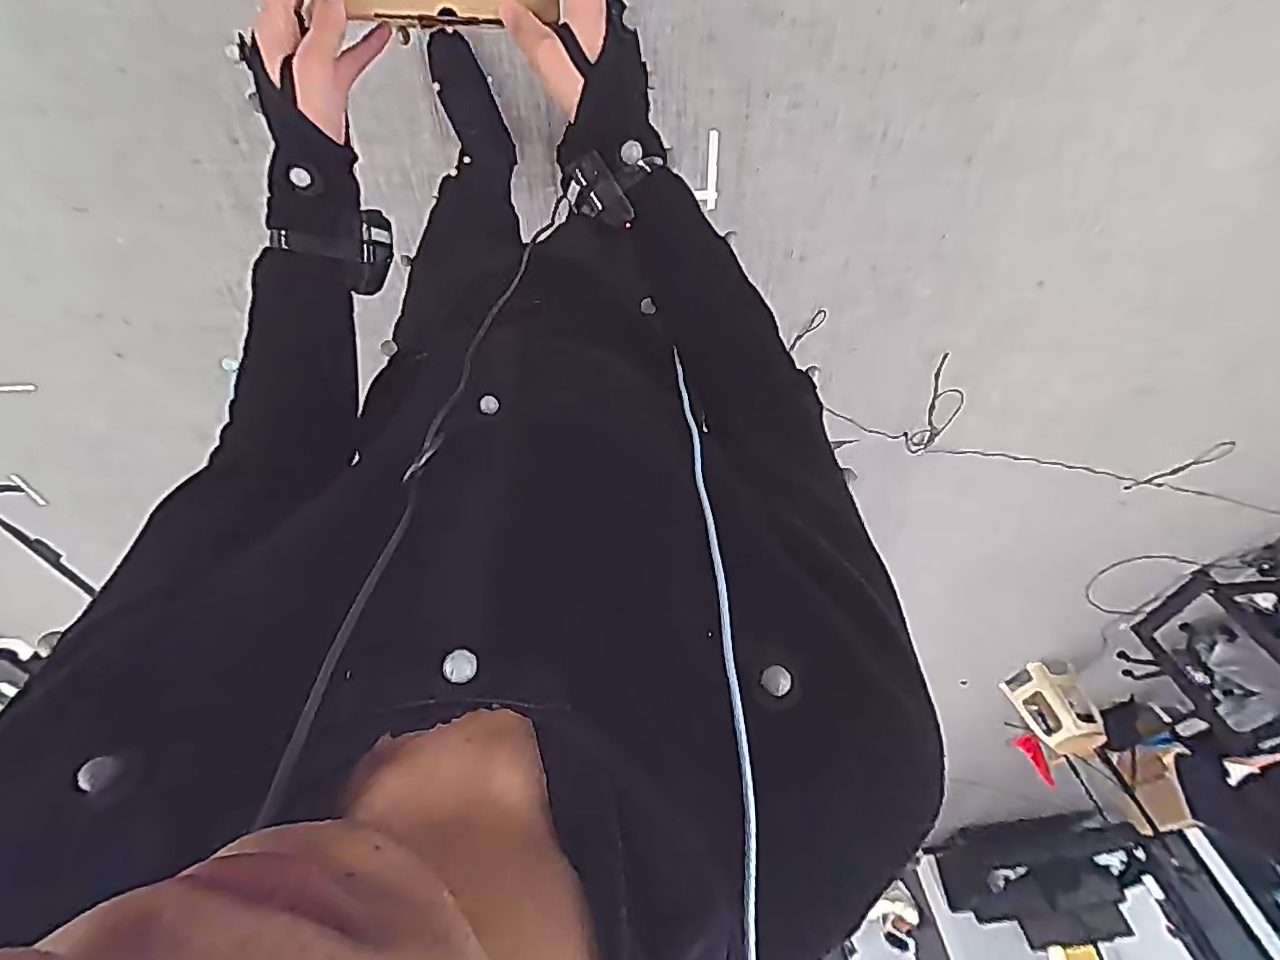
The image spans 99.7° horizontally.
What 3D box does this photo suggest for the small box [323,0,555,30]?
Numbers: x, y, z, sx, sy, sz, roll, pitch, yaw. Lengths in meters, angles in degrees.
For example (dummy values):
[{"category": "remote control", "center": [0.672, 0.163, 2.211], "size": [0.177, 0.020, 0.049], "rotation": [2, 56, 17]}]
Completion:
[{"category": "small box", "center": [-0.153, -0.451, 0.401], "size": [0.168, 0.176, 0.179], "rotation": [-6, 129, -11]}]
